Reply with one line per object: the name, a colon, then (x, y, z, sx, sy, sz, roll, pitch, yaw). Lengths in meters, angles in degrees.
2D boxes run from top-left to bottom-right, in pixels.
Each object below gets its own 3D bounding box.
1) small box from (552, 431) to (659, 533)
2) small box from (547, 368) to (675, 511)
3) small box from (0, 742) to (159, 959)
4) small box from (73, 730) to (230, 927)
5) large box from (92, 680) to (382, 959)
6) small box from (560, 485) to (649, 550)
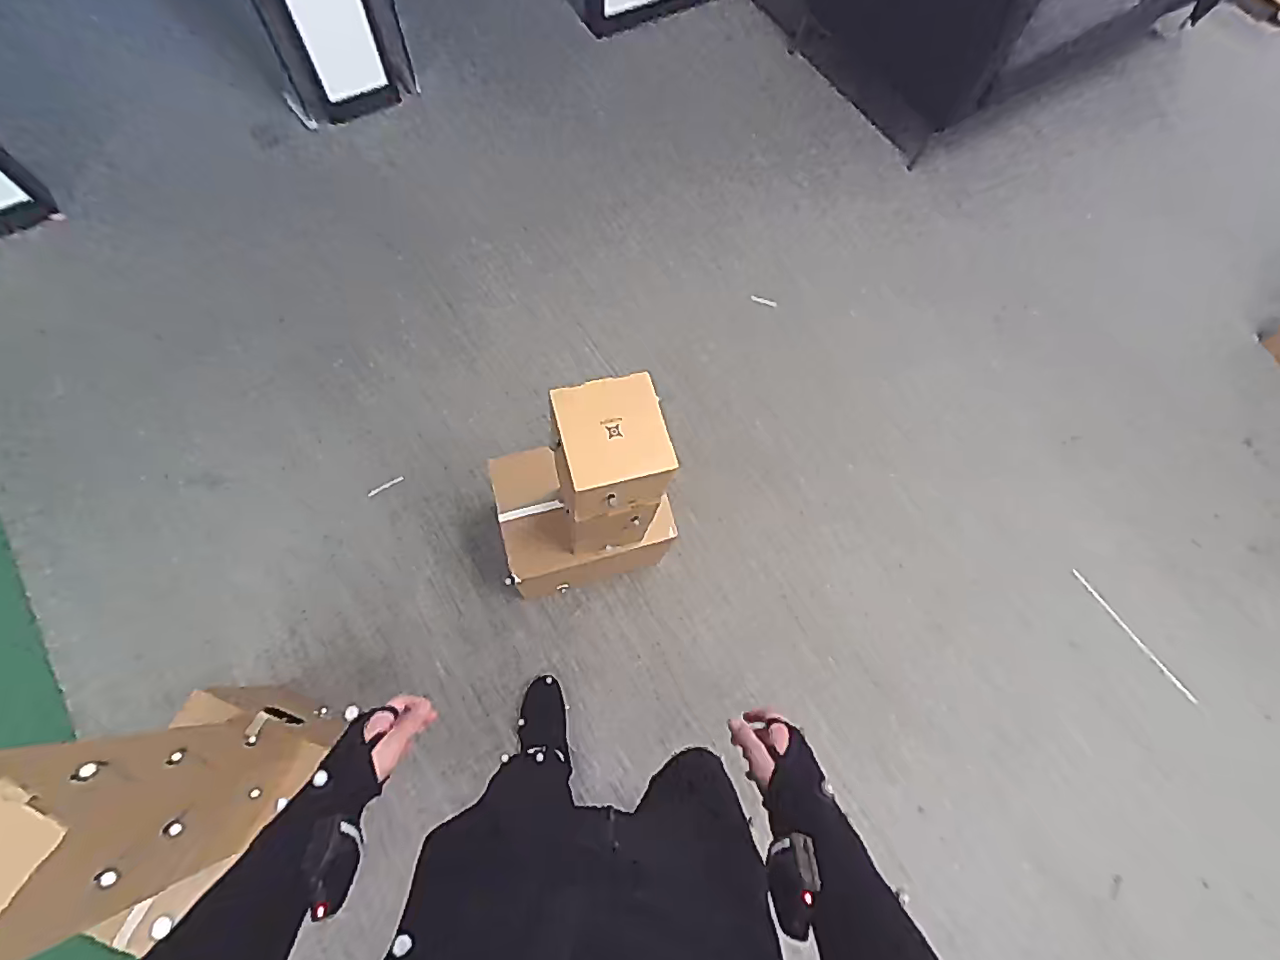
small box: (-0.071, -0.003, 1.059, 0.168, 0.176, 0.179, -13, 73, -11)
small box: (-0.053, -0.058, 0.908, 0.168, 0.176, 0.179, -14, 73, -11)
small box: (-0.743, 0.438, 0.649, 0.168, 0.176, 0.179, 28, 69, 5)
small box: (-0.763, 0.493, 0.801, 0.168, 0.176, 0.179, 27, 70, 5)
large box: (-0.841, 0.686, 1.162, 0.320, 0.320, 0.408, 23, 71, 4)
small box: (-0.087, 0.044, 1.214, 0.168, 0.176, 0.179, -11, 73, -10)
